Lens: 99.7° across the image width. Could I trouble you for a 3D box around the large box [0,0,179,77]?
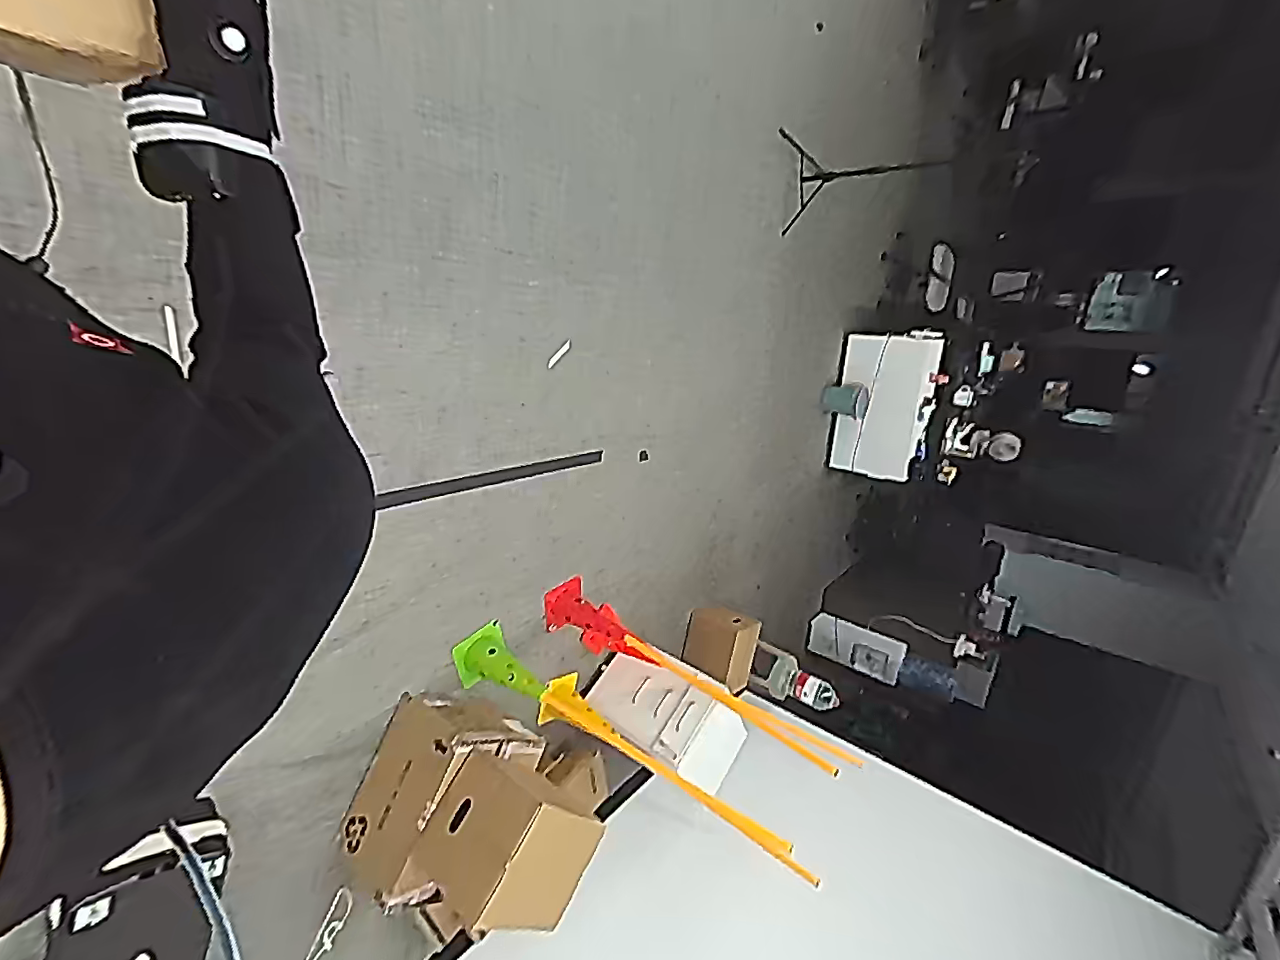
[{"bbox_3d":[-0.535,-0.454,0.259,0.408,0.320,0.320,-14,124,-52],"label":"large box"}]
